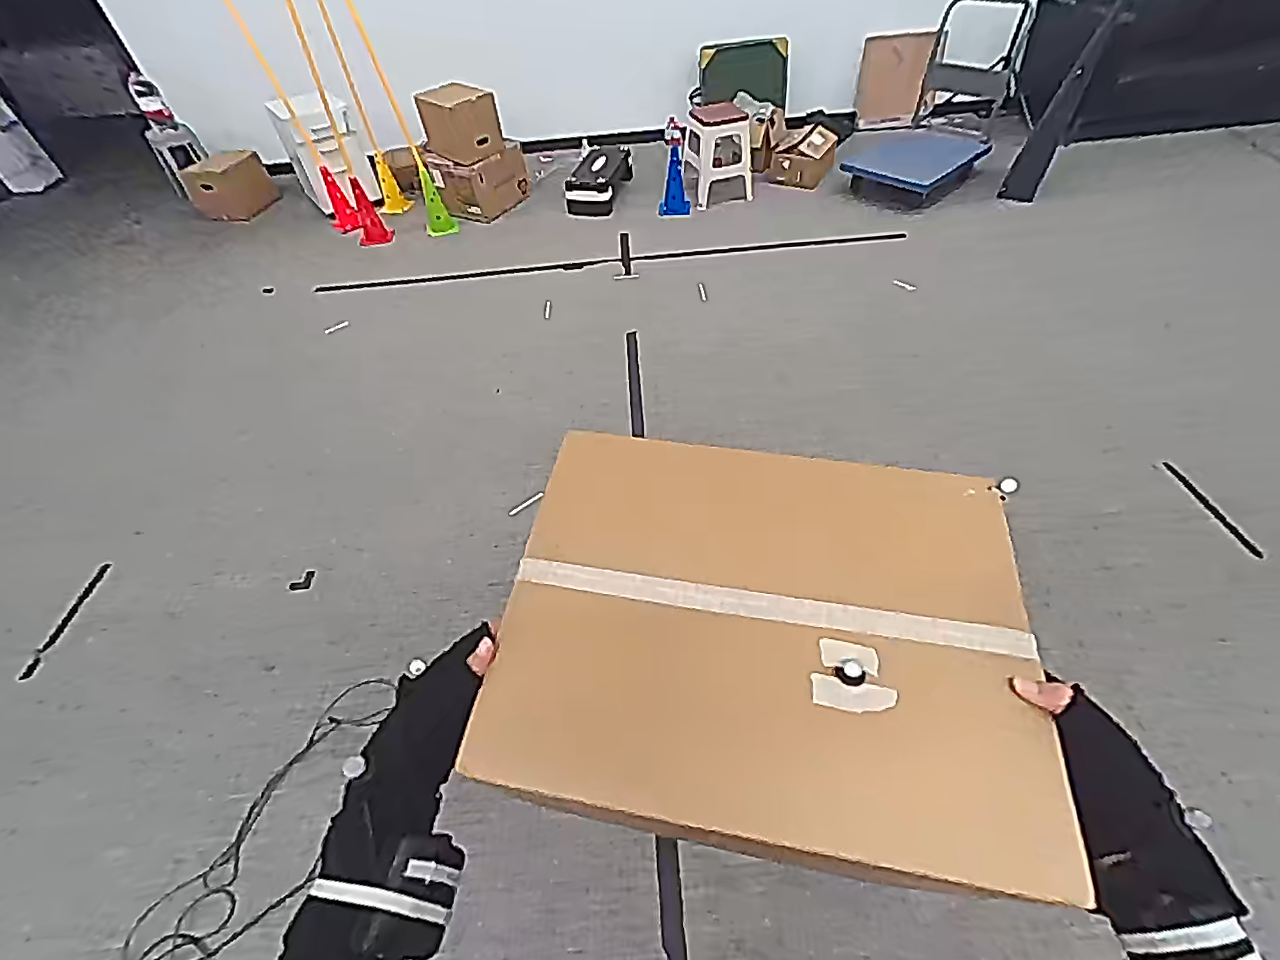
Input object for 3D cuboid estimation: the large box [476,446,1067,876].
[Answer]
[{"bbox_3d":[0.103,0.193,0.568,0.408,0.320,0.320,7,56,8],"label":"large box"}]
